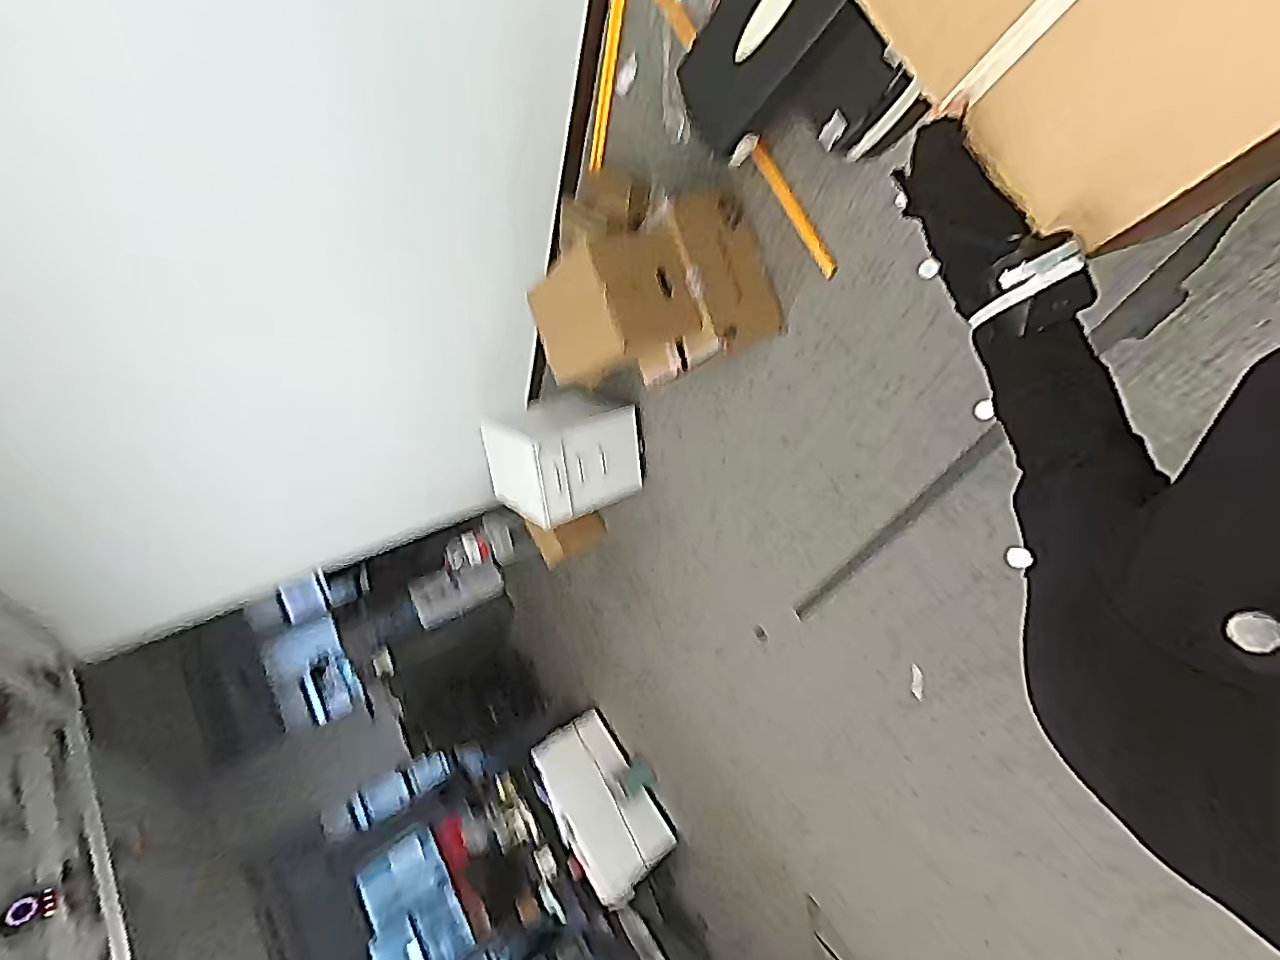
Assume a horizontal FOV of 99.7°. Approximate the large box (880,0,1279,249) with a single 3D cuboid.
[{"bbox_3d":[0.455,-0.422,0.355,0.320,0.320,0.408,62,146,9],"label":"large box"}]
